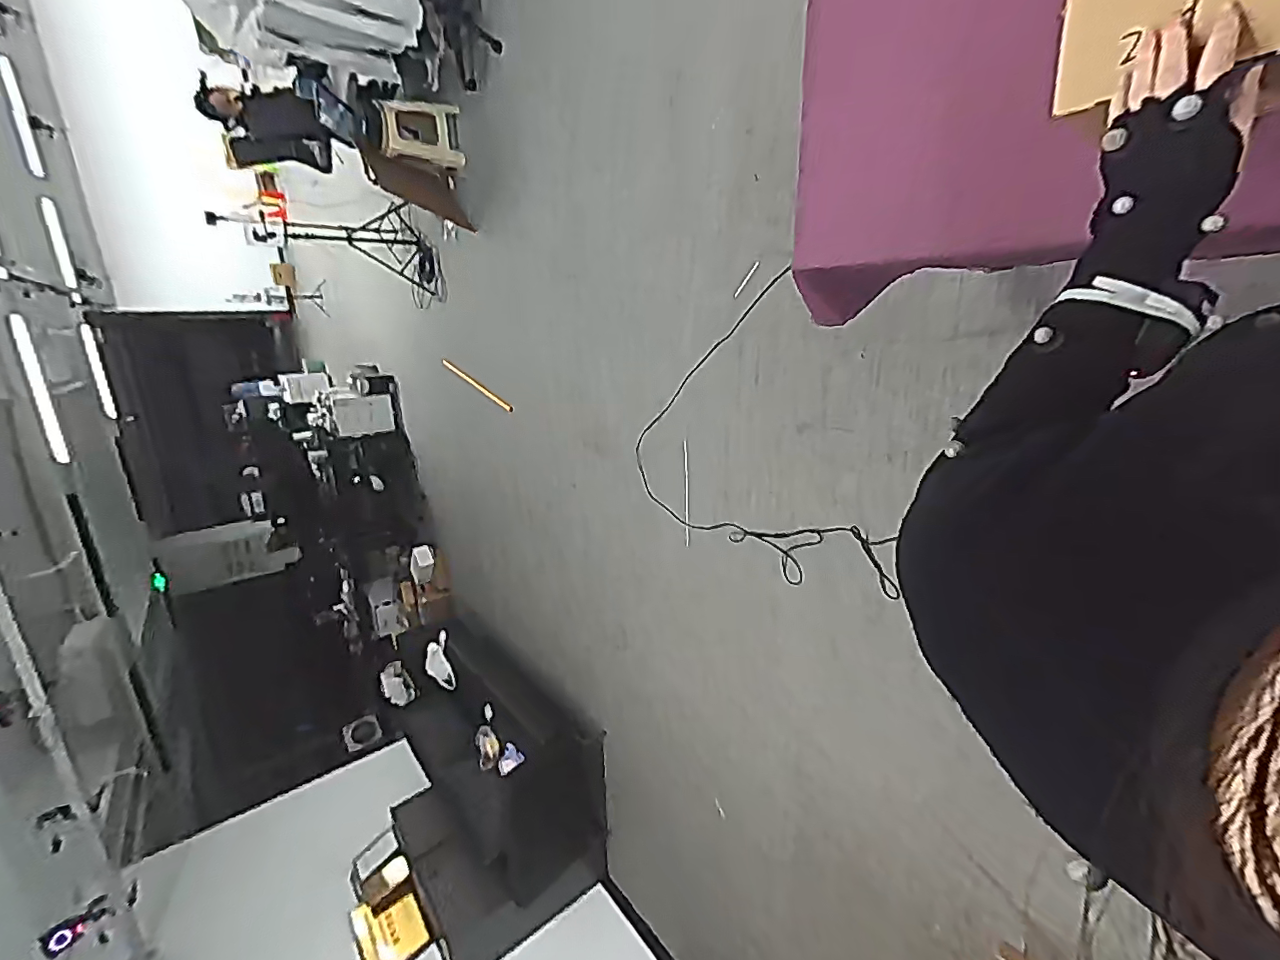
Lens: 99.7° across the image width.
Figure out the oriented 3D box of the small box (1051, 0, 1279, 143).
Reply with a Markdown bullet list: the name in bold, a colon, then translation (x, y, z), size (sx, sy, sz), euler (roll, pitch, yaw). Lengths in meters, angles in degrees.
- **small box**: translation (0.482, -0.415, 0.453), size (0.168, 0.176, 0.179), euler (16, 114, 50)
